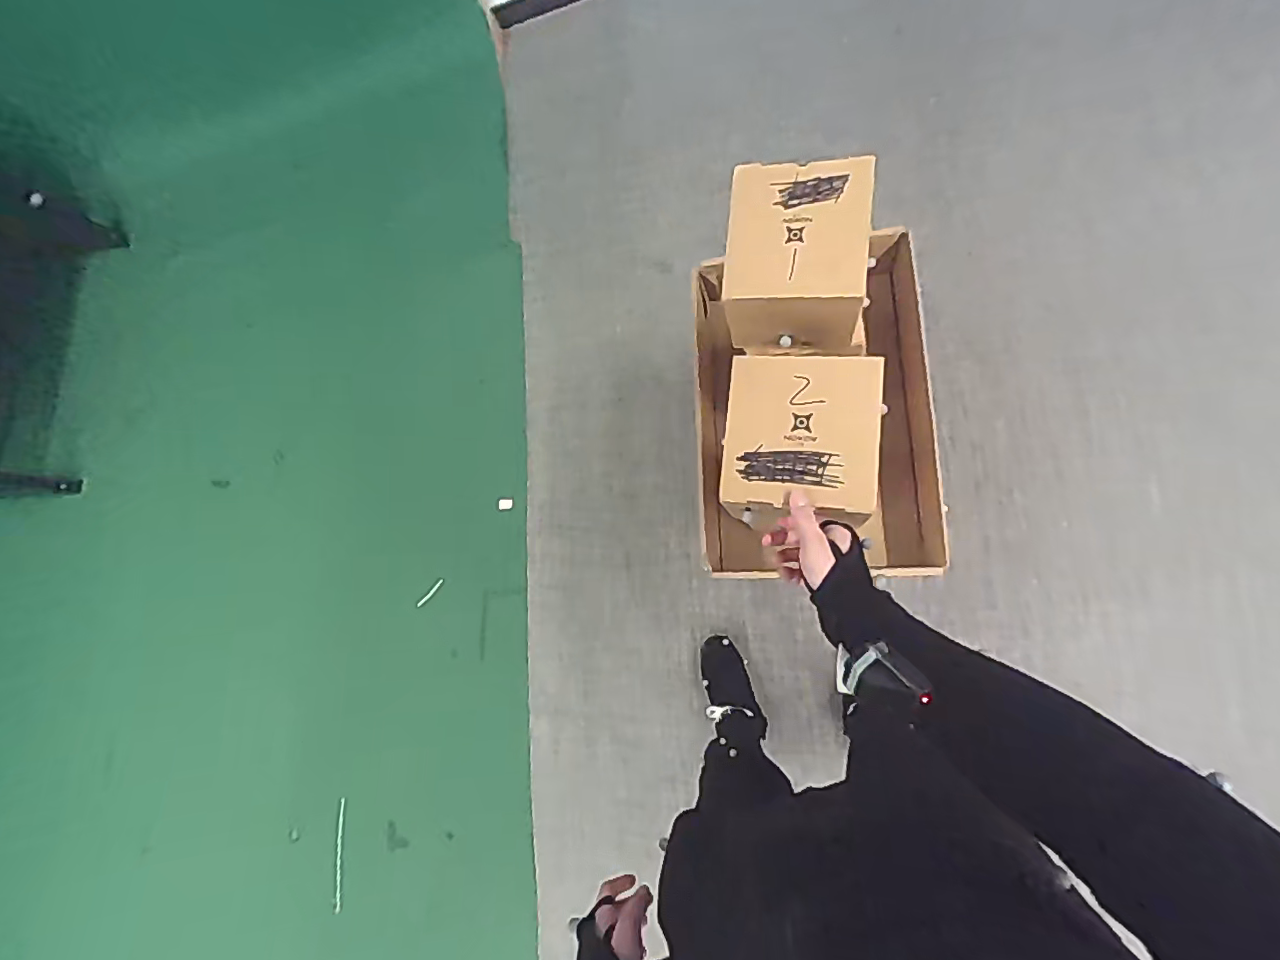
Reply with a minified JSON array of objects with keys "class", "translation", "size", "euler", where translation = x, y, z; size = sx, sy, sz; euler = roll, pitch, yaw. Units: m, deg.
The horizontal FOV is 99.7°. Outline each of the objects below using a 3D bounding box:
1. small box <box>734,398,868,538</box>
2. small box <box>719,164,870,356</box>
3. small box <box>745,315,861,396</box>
[{"class":"small box","translation":[0.246,-0.012,0.829],"size":[0.168,0.176,0.179],"euler":[6,79,17]},{"class":"small box","translation":[0.204,-0.281,0.724],"size":[0.168,0.176,0.179],"euler":[4,83,17]},{"class":"small box","translation":[0.254,-0.251,0.878],"size":[0.168,0.176,0.179],"euler":[-6,80,15]}]
